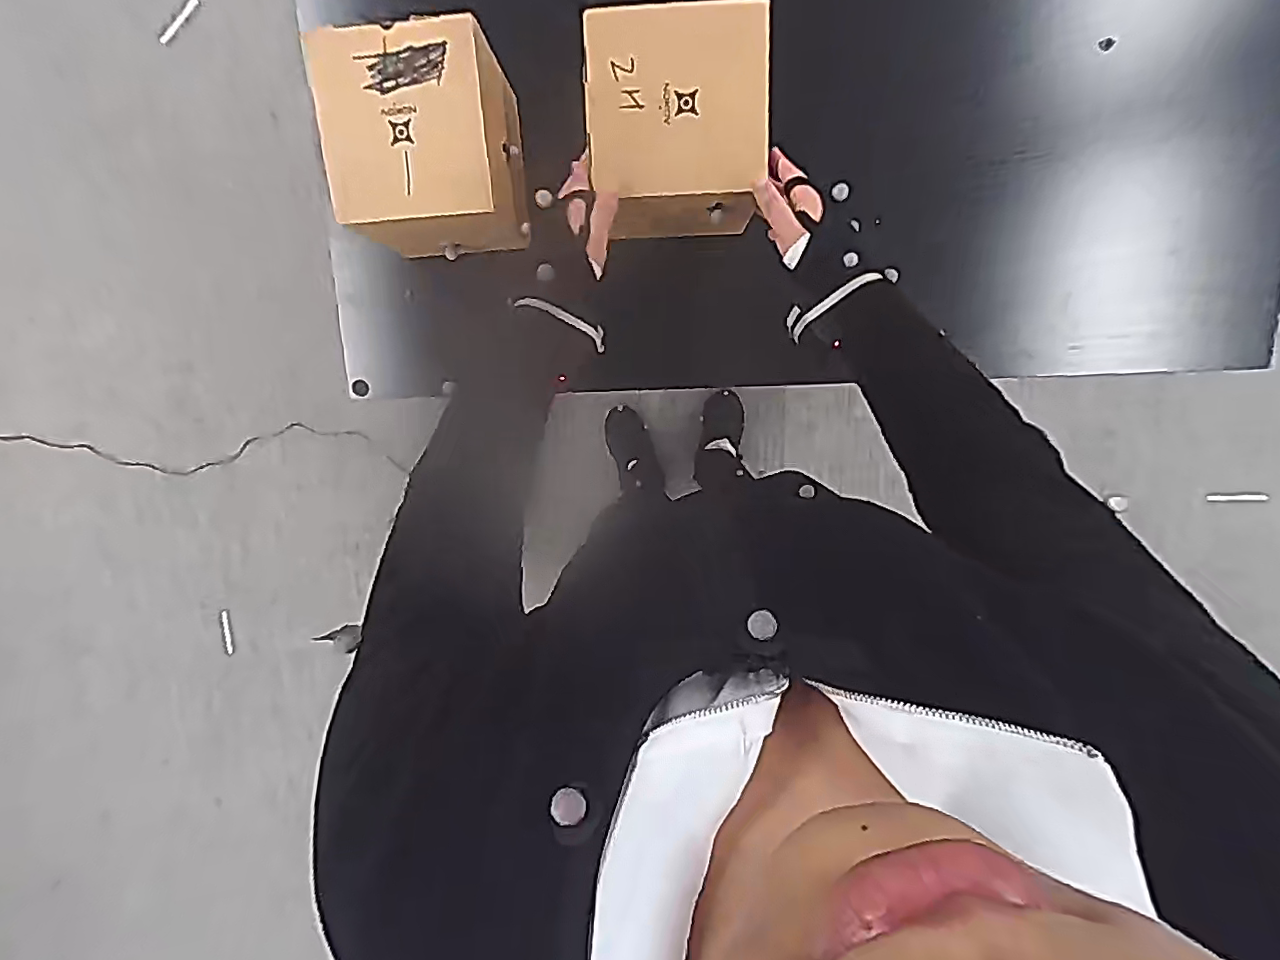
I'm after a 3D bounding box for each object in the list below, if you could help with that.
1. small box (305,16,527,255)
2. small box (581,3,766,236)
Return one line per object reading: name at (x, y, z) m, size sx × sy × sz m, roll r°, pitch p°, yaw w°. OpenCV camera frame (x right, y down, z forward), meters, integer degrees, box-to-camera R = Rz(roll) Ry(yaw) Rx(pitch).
small box at (-0.233, -0.366, 0.608) m, size 0.168 × 0.176 × 0.179 m, roll -4°, pitch 103°, yaw 2°
small box at (0.035, -0.377, 0.598) m, size 0.179 × 0.176 × 0.168 m, roll -2°, pitch 101°, yaw 2°
